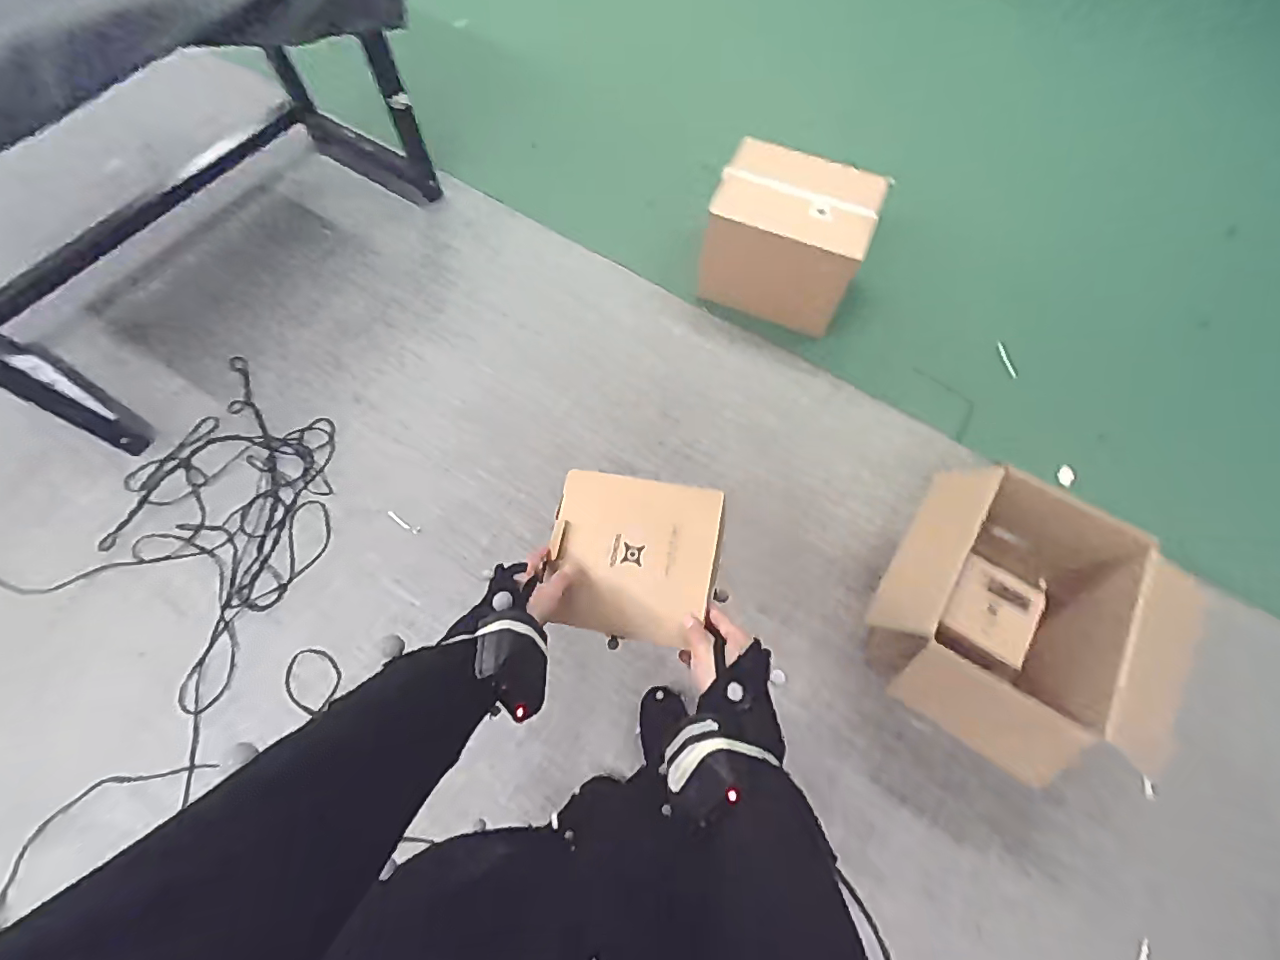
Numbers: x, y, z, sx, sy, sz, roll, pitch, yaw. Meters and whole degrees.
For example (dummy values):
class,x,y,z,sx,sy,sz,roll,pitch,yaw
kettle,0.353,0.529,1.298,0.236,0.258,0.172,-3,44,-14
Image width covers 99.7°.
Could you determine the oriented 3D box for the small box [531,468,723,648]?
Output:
class,x,y,z,sx,sy,sz,roll,pitch,yaw
small box,-0.002,0.099,0.630,0.179,0.176,0.168,8,74,10
